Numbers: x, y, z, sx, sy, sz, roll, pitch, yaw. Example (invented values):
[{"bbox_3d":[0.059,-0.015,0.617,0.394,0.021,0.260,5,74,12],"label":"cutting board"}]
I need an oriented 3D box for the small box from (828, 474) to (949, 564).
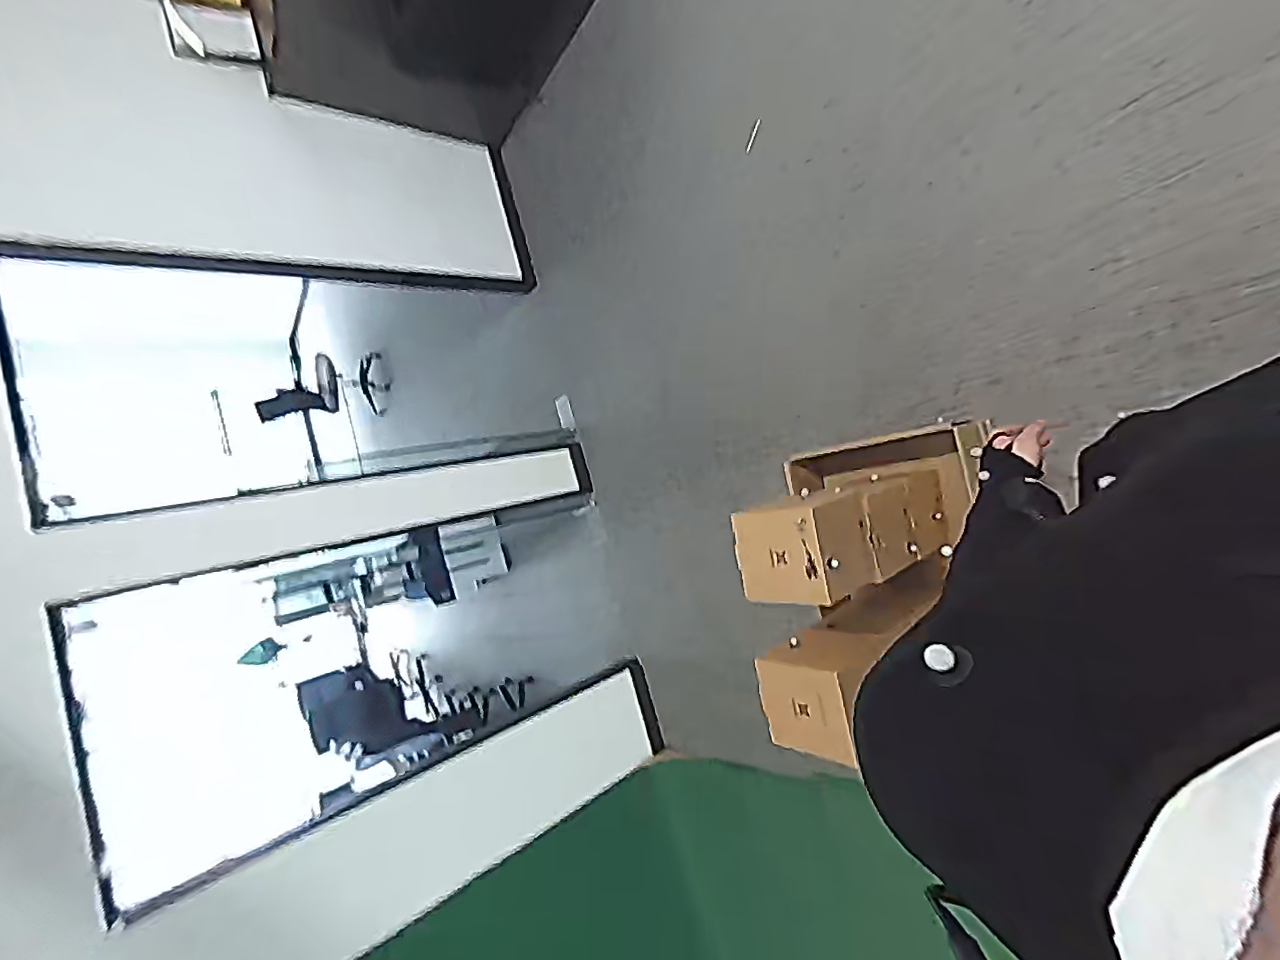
[{"bbox_3d":[0.549,0.087,1.196,0.179,0.176,0.168,-11,90,49],"label":"small box"}]

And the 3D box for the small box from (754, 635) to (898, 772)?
[{"bbox_3d":[0.343,0.397,0.998,0.179,0.176,0.168,-12,91,50],"label":"small box"}]

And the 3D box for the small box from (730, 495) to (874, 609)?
[{"bbox_3d":[0.296,0.127,0.991,0.179,0.176,0.168,-11,91,50],"label":"small box"}]

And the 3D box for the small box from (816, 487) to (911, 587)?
[{"bbox_3d":[0.424,0.111,1.092,0.179,0.176,0.168,-10,91,50],"label":"small box"}]

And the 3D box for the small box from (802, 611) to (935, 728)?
[{"bbox_3d":[0.466,0.373,1.102,0.179,0.176,0.168,-14,89,50],"label":"small box"}]
